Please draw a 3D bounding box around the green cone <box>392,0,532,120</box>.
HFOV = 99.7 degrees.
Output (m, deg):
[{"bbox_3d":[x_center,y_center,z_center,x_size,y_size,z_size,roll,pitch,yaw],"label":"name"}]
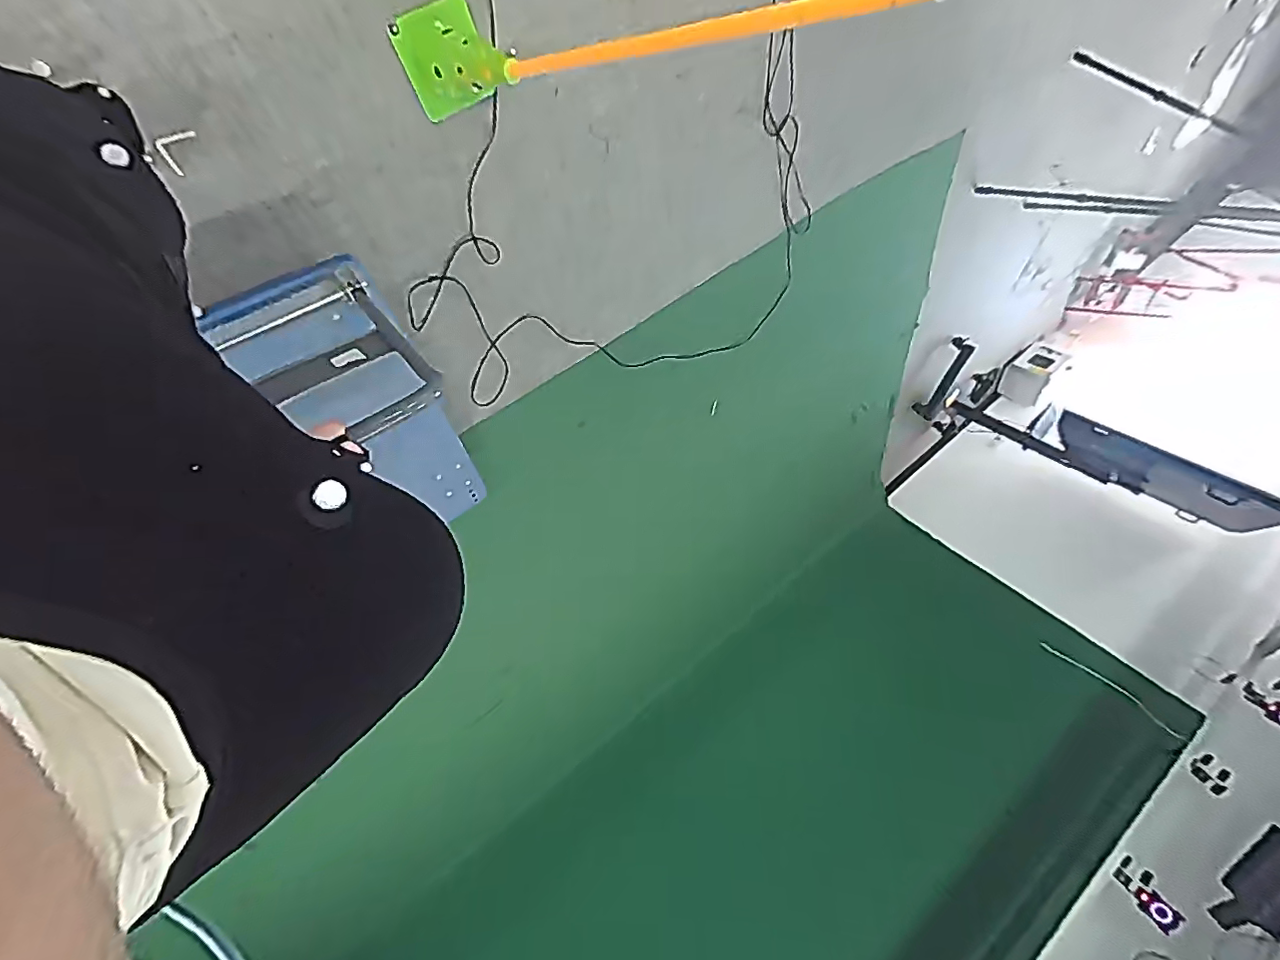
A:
[{"bbox_3d":[-0.344,-0.898,1.168,0.202,0.368,0.200,-40,143,-13],"label":"green cone"}]
